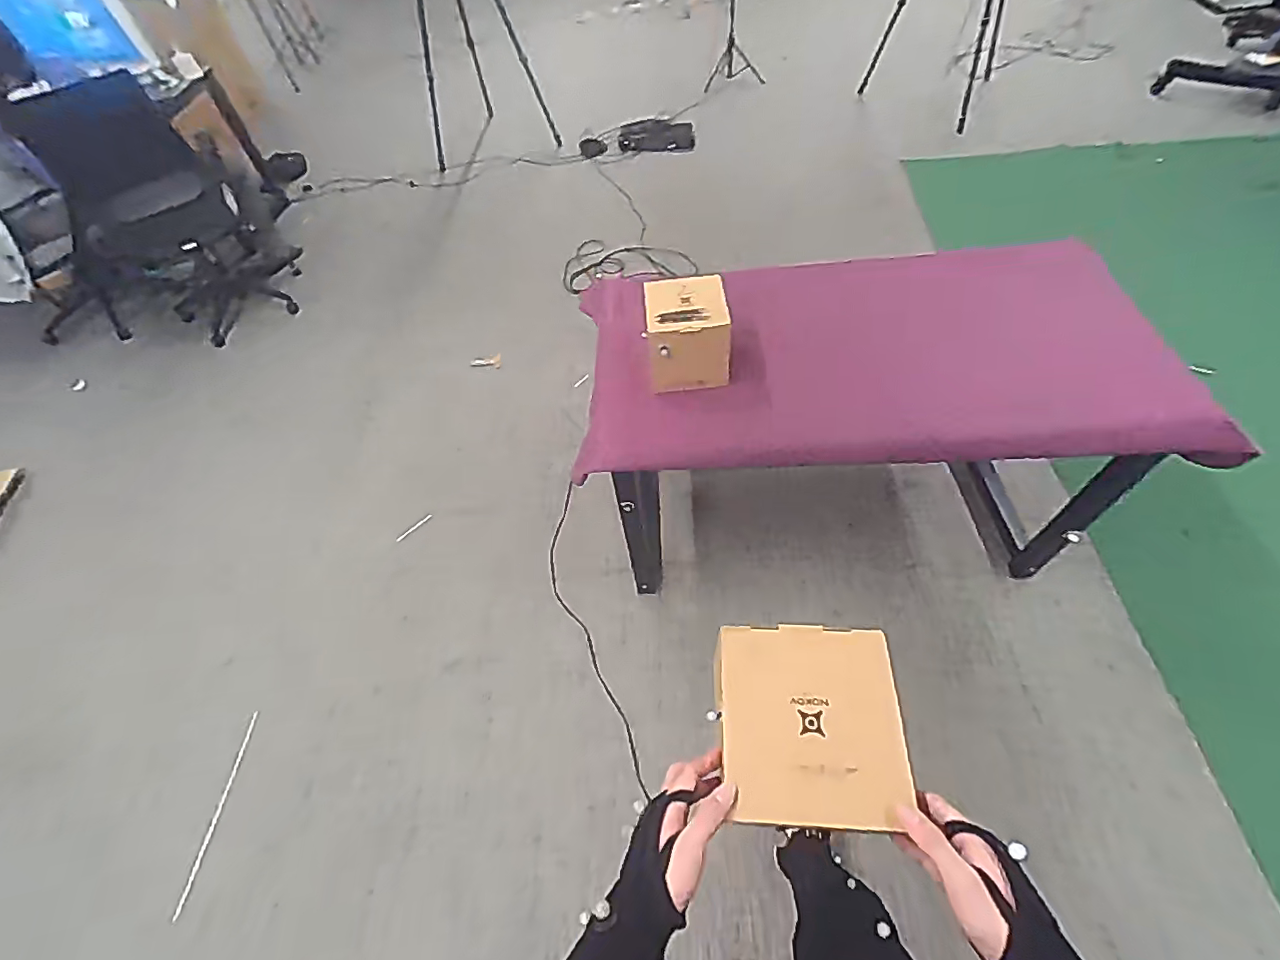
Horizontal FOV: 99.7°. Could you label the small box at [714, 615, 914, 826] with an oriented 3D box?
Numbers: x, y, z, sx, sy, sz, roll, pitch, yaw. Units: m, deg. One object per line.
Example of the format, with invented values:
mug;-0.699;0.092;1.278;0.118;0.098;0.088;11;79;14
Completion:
small box;0.165;0.260;0.579;0.168;0.176;0.179;1;58;6
